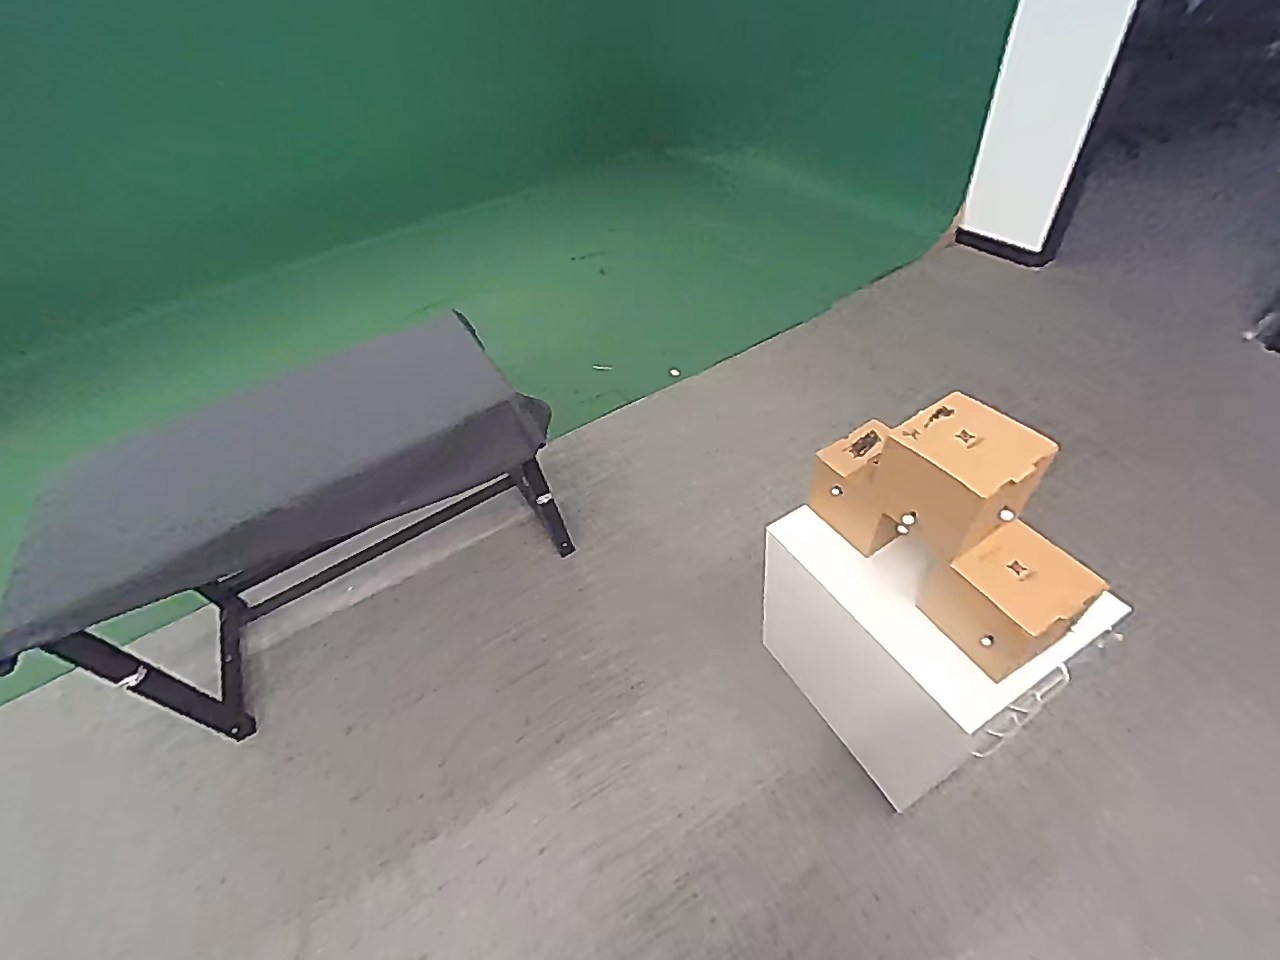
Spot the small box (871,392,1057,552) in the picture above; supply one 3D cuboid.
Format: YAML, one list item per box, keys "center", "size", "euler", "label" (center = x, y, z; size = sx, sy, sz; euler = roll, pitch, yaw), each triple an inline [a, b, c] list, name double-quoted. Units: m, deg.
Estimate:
- center: [0.511, -0.006, 0.882]
  size: [0.168, 0.176, 0.179]
  euler: [-29, 50, -15]
  label: "small box"

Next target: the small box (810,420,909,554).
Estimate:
- center: [0.466, 0.016, 1.094]
  size: [0.168, 0.176, 0.179]
  euler: [-29, 50, -14]
  label: "small box"

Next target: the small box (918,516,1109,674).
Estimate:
- center: [0.604, 0.196, 0.901]
  size: [0.168, 0.176, 0.179]
  euler: [-26, 46, -13]
  label: "small box"
